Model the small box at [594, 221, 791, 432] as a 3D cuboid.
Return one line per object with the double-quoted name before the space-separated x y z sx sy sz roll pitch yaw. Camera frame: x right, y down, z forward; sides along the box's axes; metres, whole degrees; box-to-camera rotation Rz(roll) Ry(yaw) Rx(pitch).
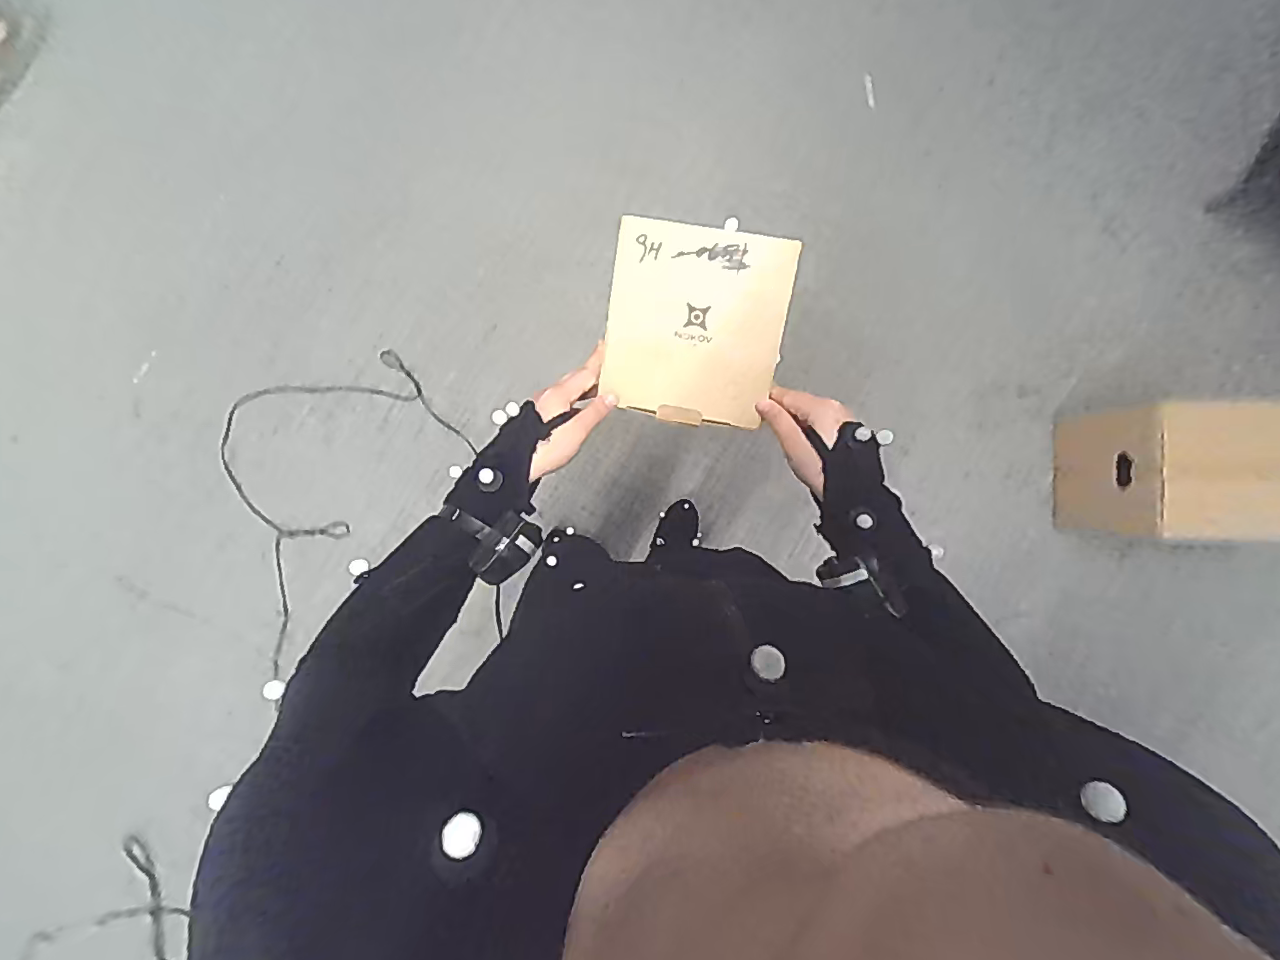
"small box" 0.053 -0.162 0.591 0.168 0.176 0.179 9 104 3
